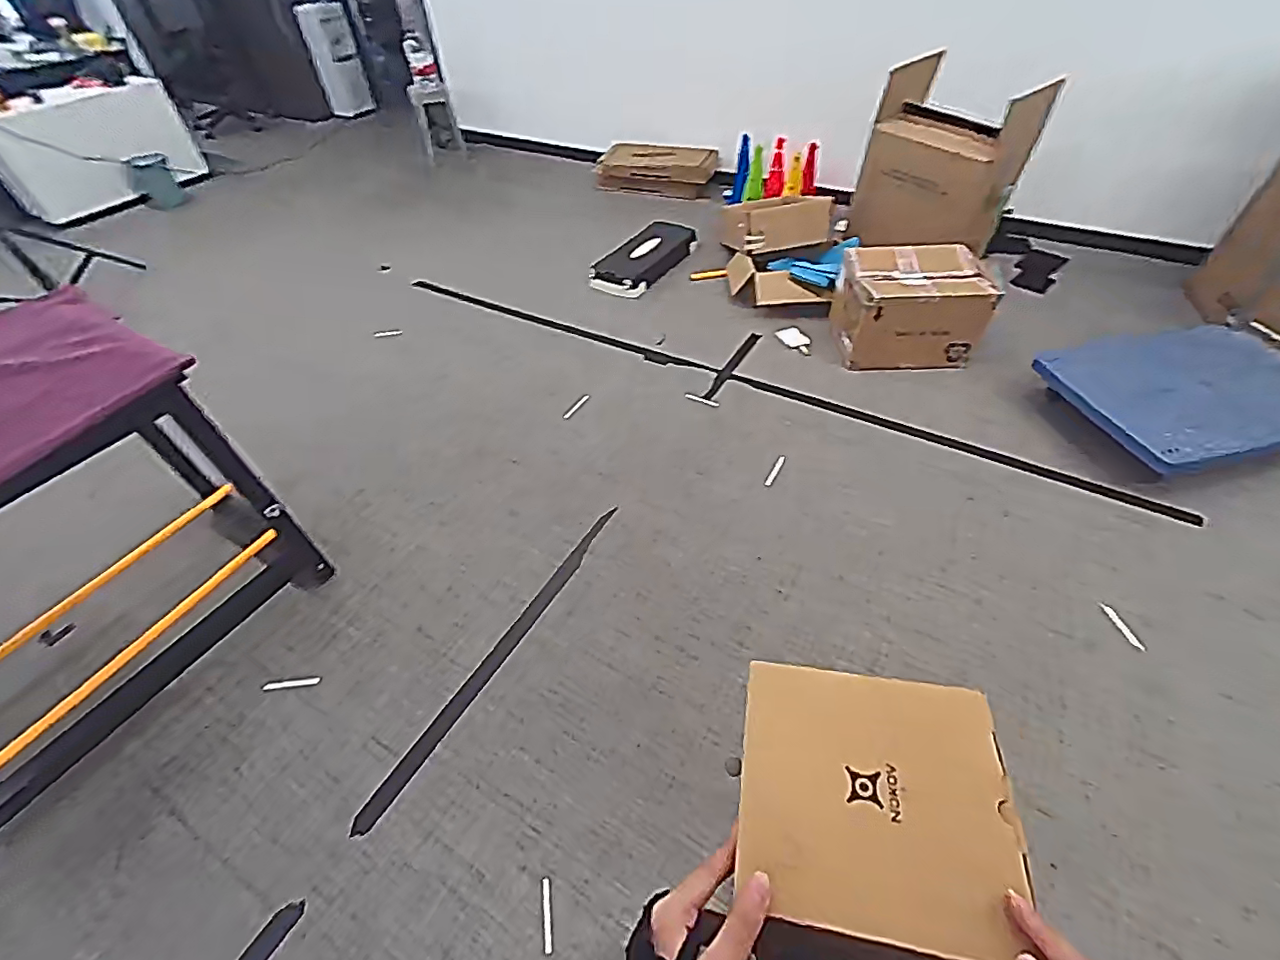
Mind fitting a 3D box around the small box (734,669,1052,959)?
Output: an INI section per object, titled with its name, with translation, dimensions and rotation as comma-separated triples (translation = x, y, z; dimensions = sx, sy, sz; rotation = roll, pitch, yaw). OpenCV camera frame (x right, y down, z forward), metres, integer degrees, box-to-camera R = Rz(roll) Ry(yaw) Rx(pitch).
[small box]
translation = 0.168, 0.271, 0.421
dimensions = 0.179, 0.176, 0.168
rotation = 3, 45, 13
